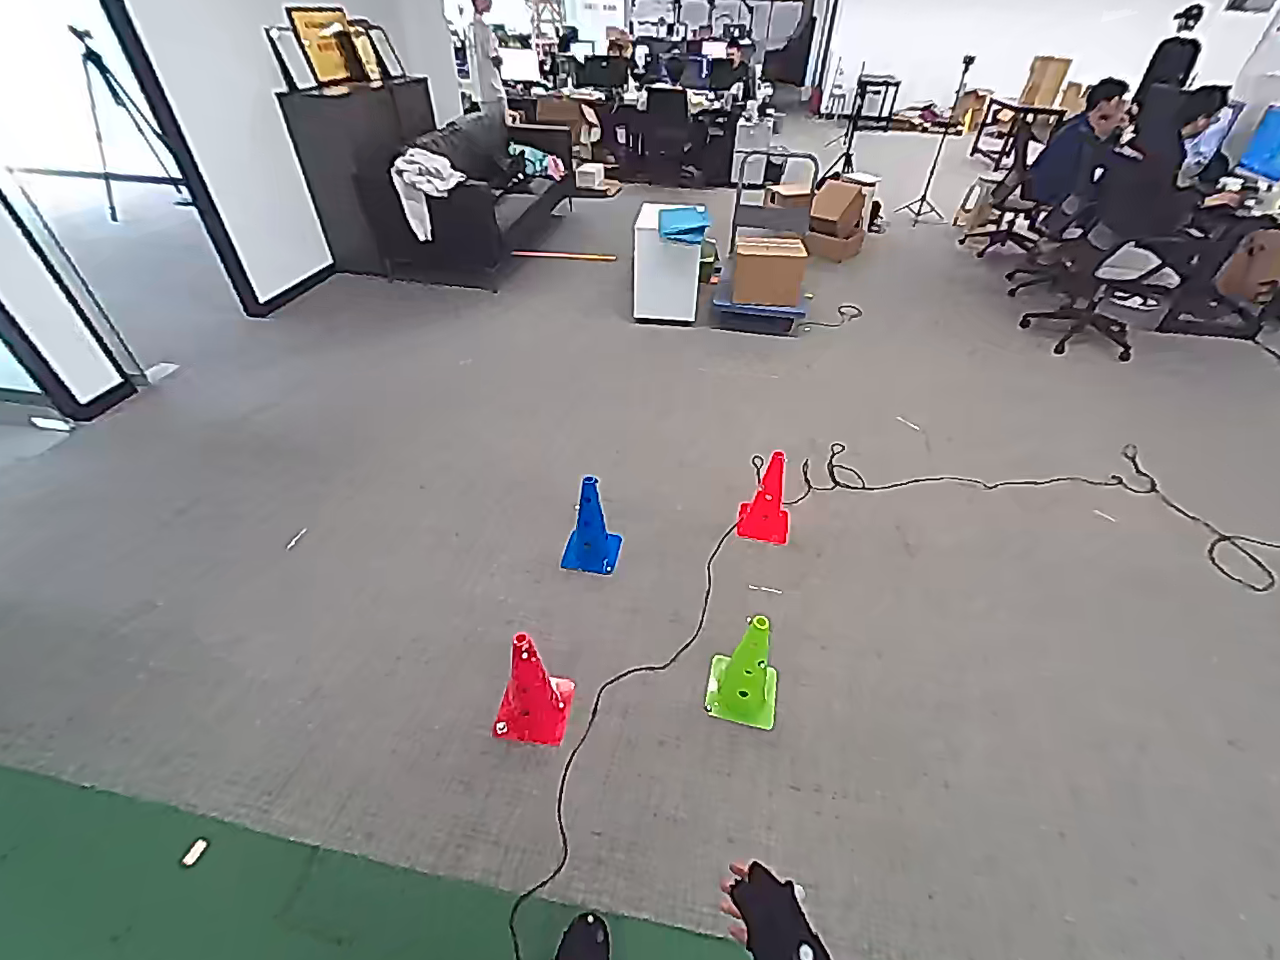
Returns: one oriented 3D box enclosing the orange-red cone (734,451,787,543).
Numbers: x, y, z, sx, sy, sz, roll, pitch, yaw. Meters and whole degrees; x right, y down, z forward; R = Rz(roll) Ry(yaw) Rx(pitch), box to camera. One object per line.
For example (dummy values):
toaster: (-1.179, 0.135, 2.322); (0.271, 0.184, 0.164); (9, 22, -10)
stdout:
orange-red cone: (0.486, 0.040, 2.051); (0.198, 0.360, 0.199); (10, 43, 11)

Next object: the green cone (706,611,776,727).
green cone: (0.310, 0.496, 1.506); (0.200, 0.368, 0.202); (10, 40, 9)
